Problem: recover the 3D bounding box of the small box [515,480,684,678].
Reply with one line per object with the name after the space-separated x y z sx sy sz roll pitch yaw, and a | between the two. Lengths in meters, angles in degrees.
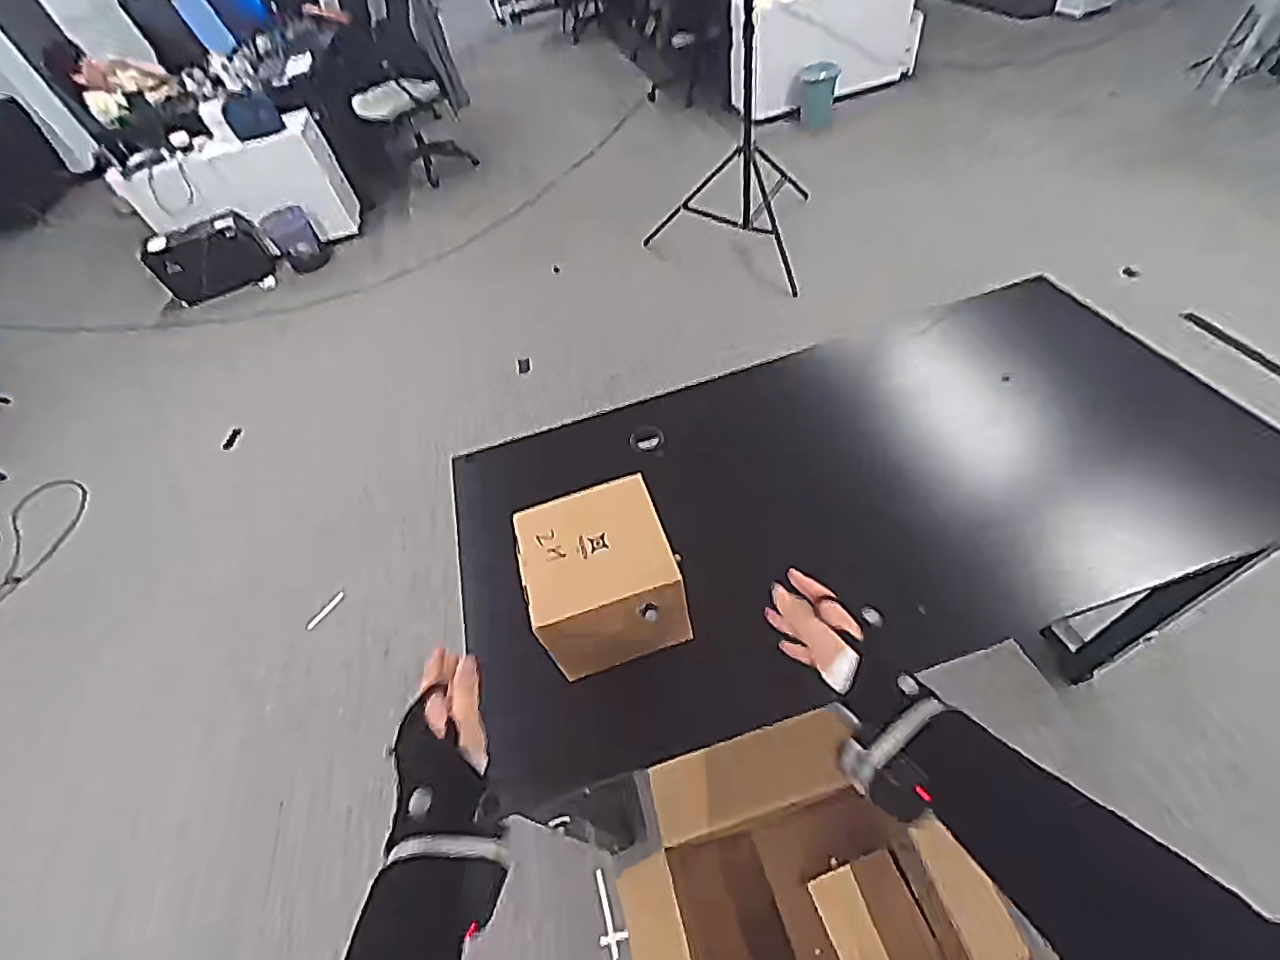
-0.047 0.133 0.710 0.179 0.176 0.168 -18 50 -4 | small box
